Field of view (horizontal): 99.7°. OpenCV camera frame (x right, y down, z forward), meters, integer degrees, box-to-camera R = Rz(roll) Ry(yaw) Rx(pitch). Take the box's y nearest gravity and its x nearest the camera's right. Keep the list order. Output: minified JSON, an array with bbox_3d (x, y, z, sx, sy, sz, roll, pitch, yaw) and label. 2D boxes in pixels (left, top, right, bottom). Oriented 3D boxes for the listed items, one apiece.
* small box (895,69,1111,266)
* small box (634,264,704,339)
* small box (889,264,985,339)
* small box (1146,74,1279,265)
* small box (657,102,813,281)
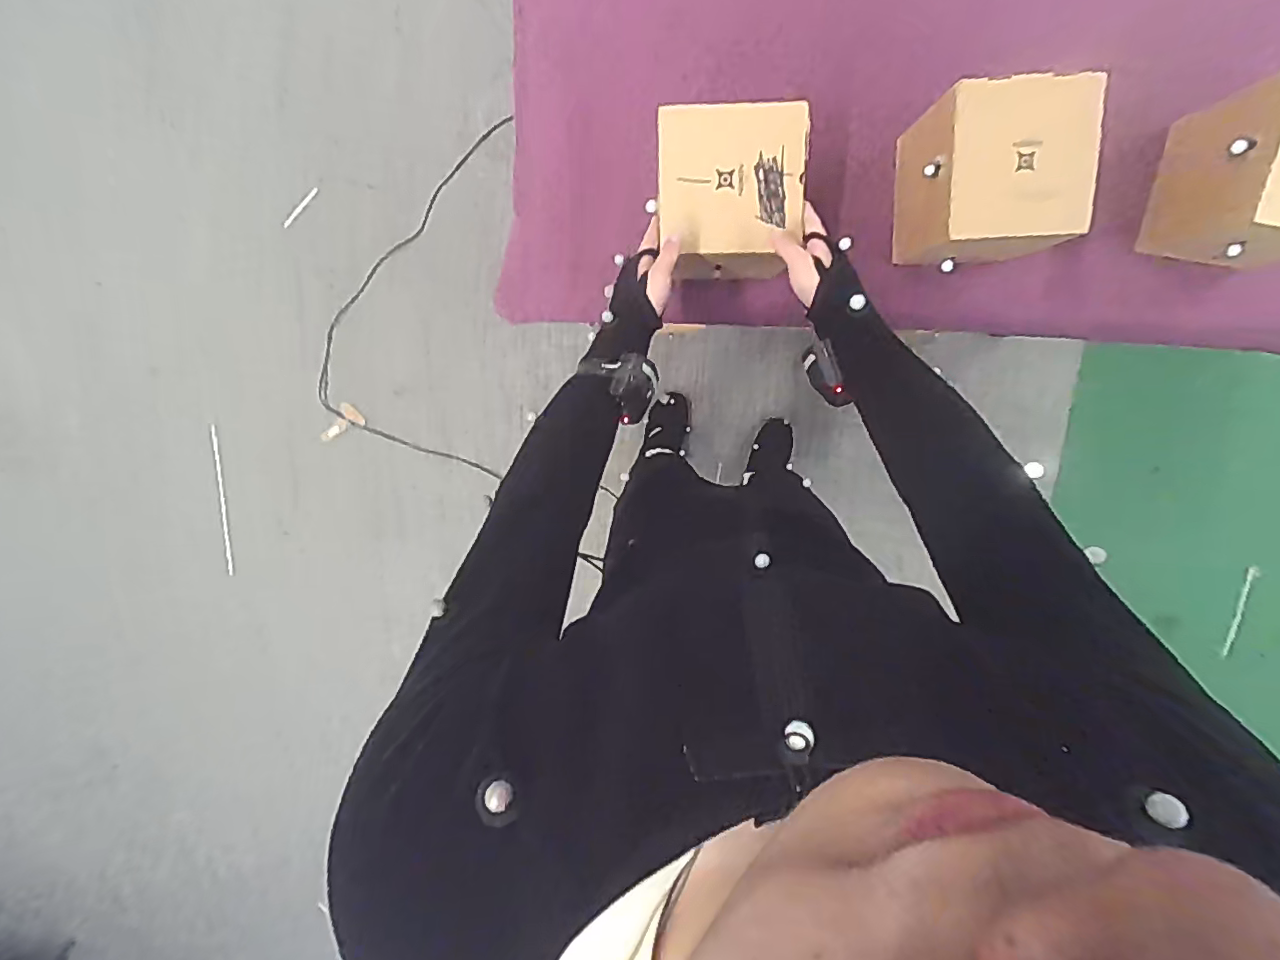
[{"bbox_3d":[0.449,-0.388,0.699,0.168,0.176,0.179,-2,101,2],"label":"small box"},{"bbox_3d":[0.077,-0.470,1.428,0.168,0.176,0.179,-6,101,2],"label":"small box"},{"bbox_3d":[0.769,-0.471,1.417,0.168,0.176,0.179,-4,101,1],"label":"small box"},{"bbox_3d":[0.816,-0.388,0.693,0.168,0.176,0.179,9,100,0],"label":"small box"},{"bbox_3d":[0.111,-0.361,0.705,0.179,0.176,0.168,0,100,2],"label":"small box"}]
